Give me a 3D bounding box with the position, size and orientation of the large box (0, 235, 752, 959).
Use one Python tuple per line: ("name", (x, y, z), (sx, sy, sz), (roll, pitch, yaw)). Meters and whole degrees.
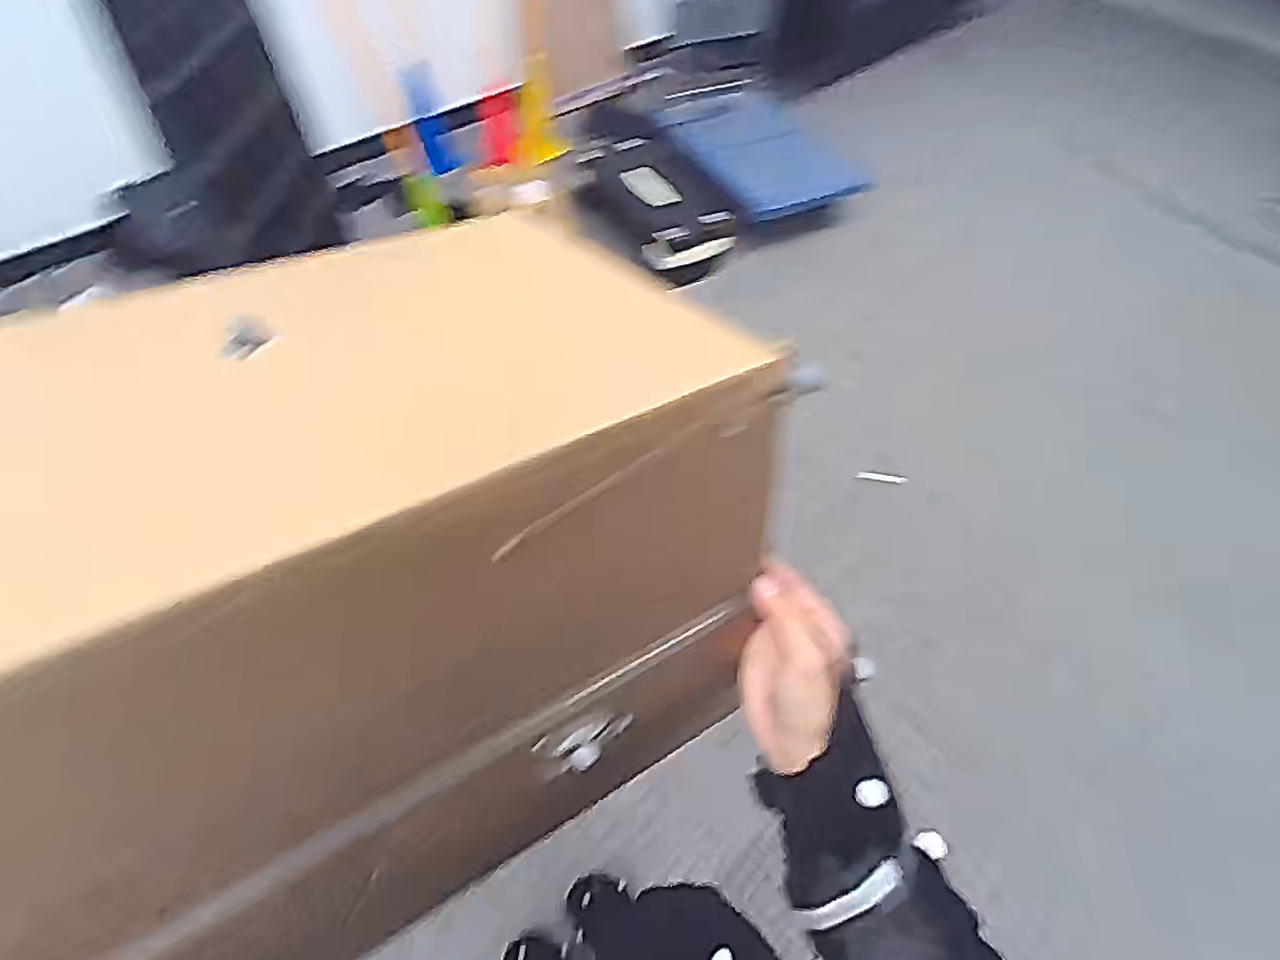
("large box", (-0.182, 0.064, 0.375), (0.408, 0.320, 0.320), (-25, 45, -21))
